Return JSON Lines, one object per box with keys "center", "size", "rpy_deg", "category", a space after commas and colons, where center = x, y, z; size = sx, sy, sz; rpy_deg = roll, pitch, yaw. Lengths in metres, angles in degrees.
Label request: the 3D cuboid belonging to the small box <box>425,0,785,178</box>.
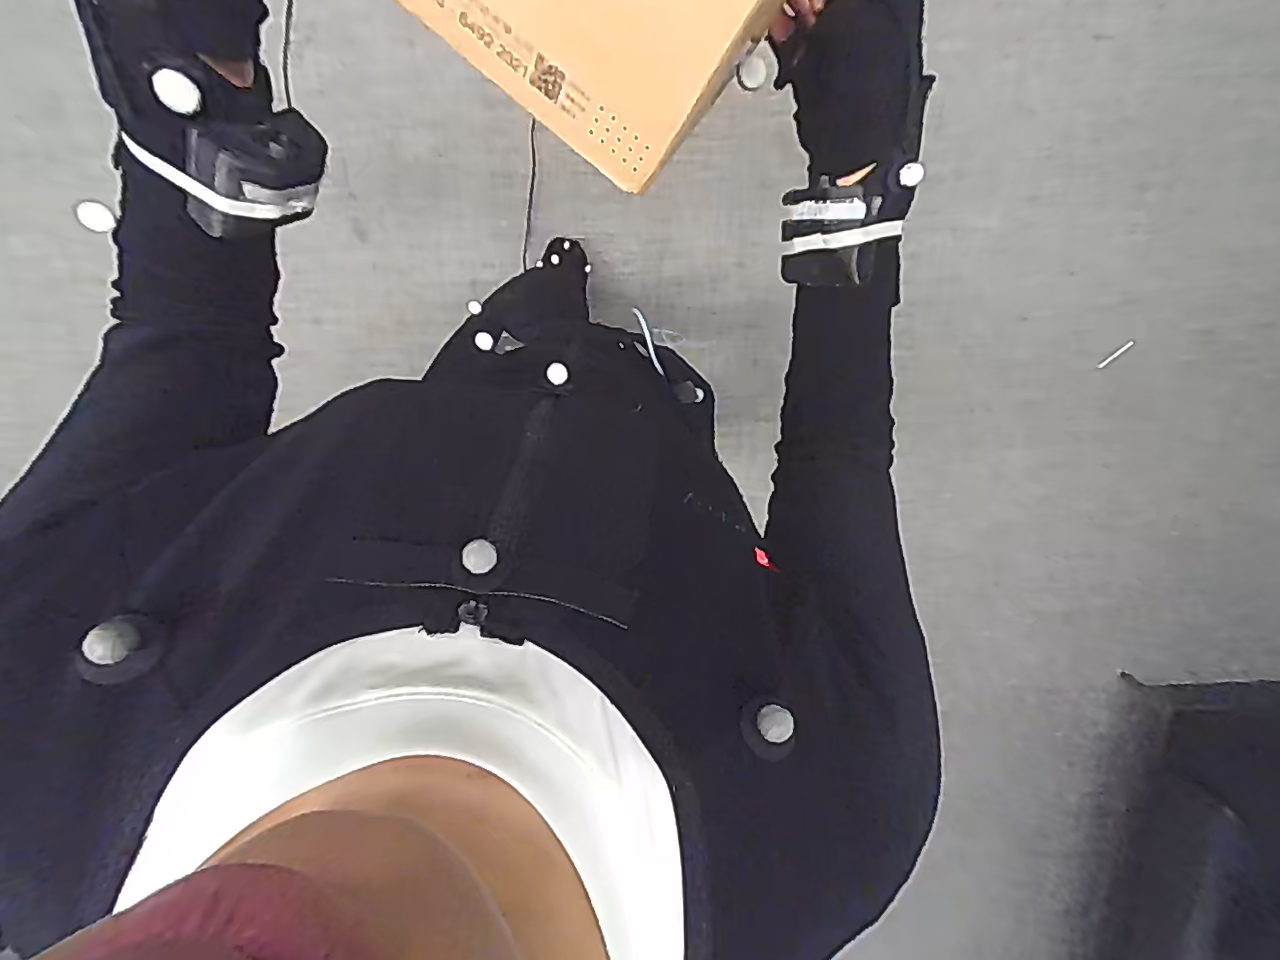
{"center": [0.007, -0.283, 0.234], "size": [0.168, 0.176, 0.179], "rpy_deg": [36, 60, -13], "category": "small box"}
